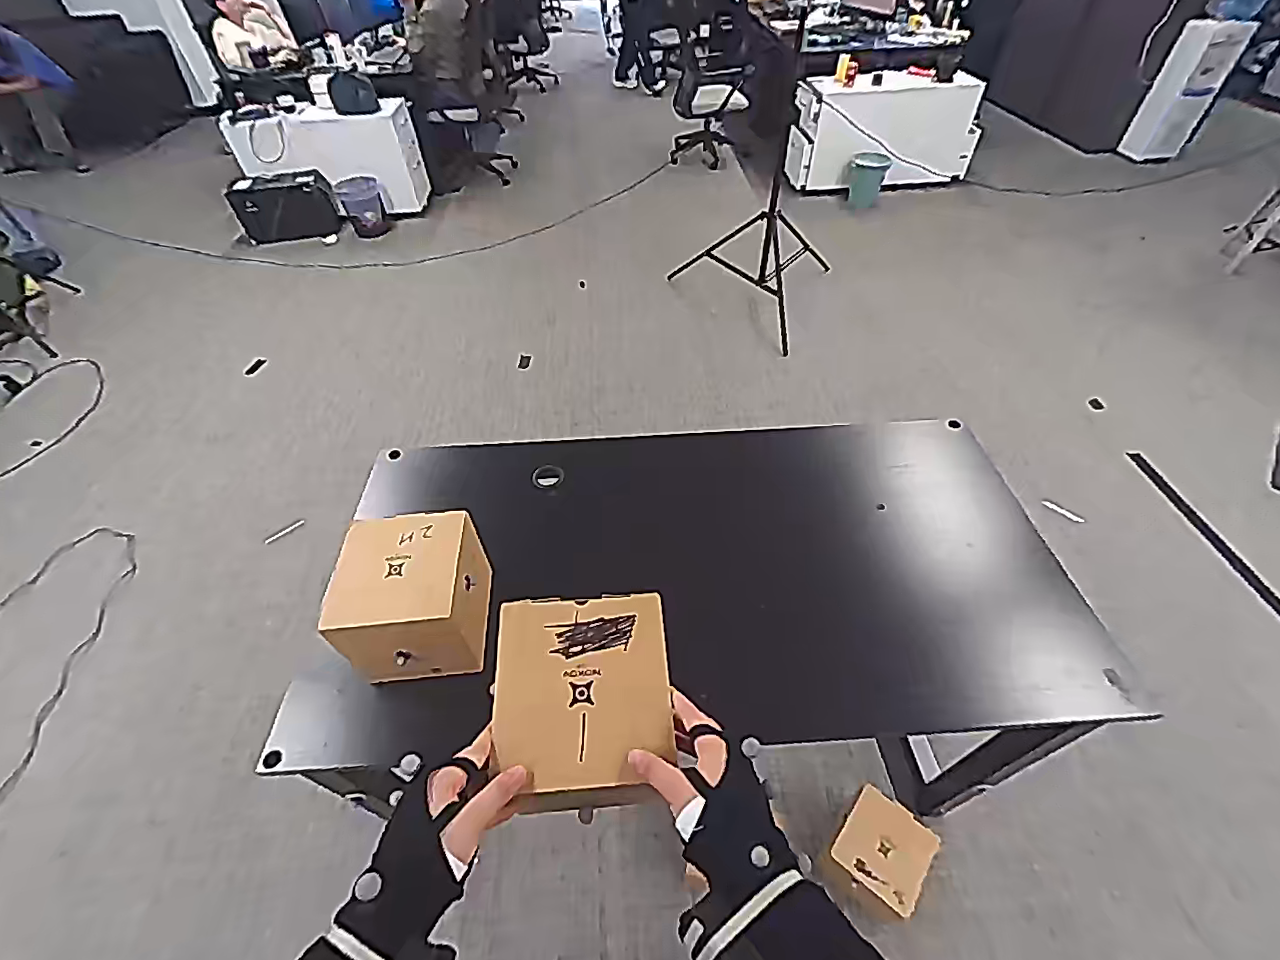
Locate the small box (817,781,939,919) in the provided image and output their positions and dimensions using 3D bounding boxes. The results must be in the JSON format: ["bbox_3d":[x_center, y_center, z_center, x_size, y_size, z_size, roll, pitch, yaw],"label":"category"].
[{"bbox_3d":[0.504,0.798,1.167,0.168,0.176,0.179,31,56,27],"label":"small box"}]

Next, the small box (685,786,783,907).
[{"bbox_3d":[0.202,0.802,1.179,0.179,0.176,0.168,11,49,14],"label":"small box"}]

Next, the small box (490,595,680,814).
[{"bbox_3d":[-0.054,0.240,0.574,0.168,0.176,0.179,-3,55,-3],"label":"small box"}]

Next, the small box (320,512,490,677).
[{"bbox_3d":[-0.322,0.171,0.784,0.168,0.176,0.179,-5,48,-3],"label":"small box"}]
